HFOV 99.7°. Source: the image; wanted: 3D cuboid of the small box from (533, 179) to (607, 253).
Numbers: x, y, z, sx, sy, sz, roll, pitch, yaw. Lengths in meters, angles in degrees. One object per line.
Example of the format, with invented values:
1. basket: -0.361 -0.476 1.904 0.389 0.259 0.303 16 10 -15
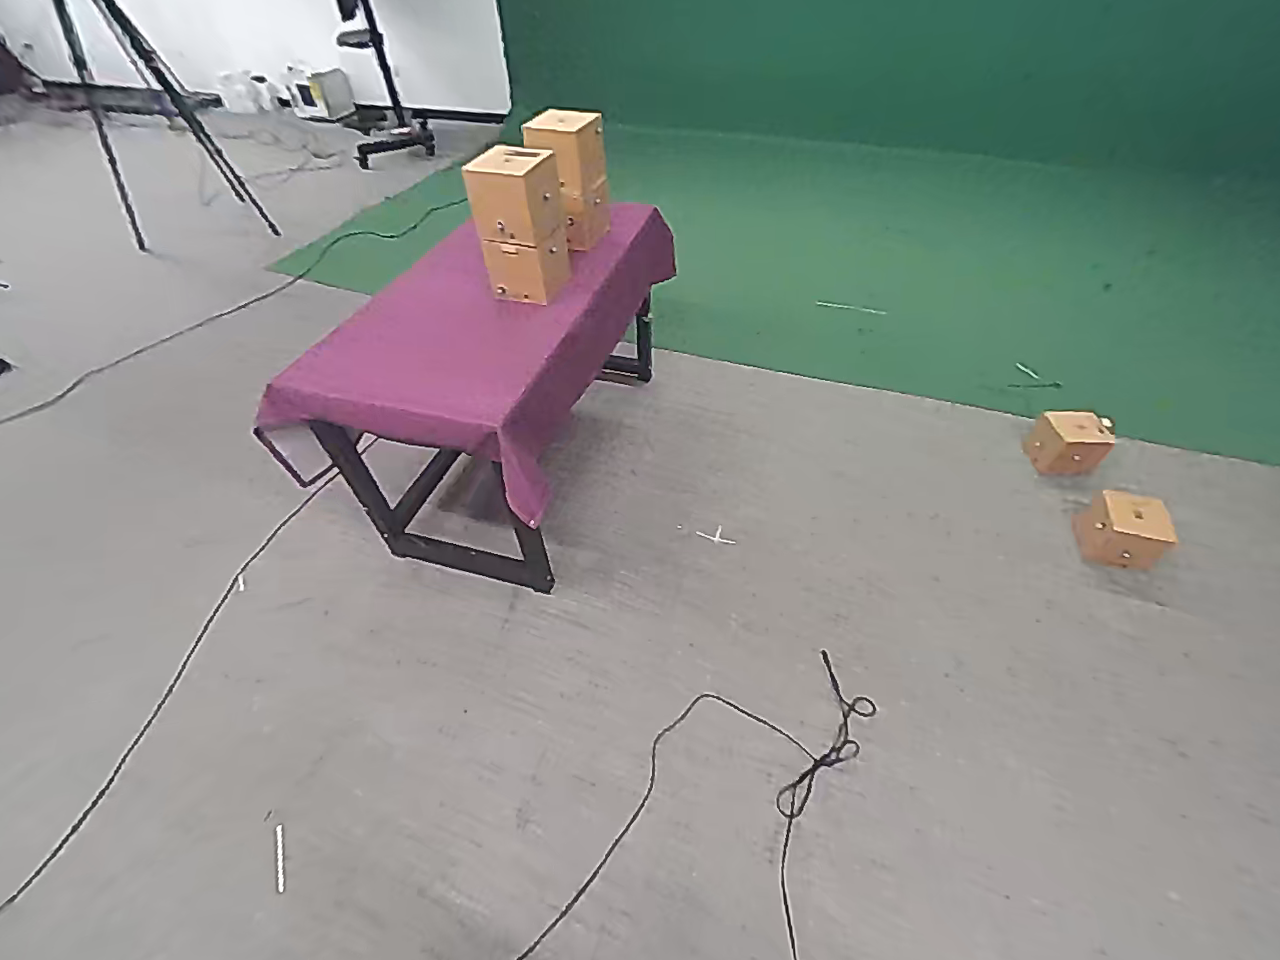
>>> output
1. small box: -0.211 -0.838 1.706 0.168 0.176 0.179 17 50 16

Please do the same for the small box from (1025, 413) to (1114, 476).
1. small box: 1.547 -0.127 1.969 0.179 0.176 0.168 0 47 3

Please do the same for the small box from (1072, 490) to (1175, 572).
1. small box: 1.509 0.165 1.700 0.168 0.176 0.179 13 50 13

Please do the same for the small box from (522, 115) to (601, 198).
1. small box: -0.221 -0.949 1.587 0.168 0.176 0.179 15 50 15

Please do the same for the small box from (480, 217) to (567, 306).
1. small box: -0.310 -0.599 1.489 0.168 0.176 0.179 12 48 13
